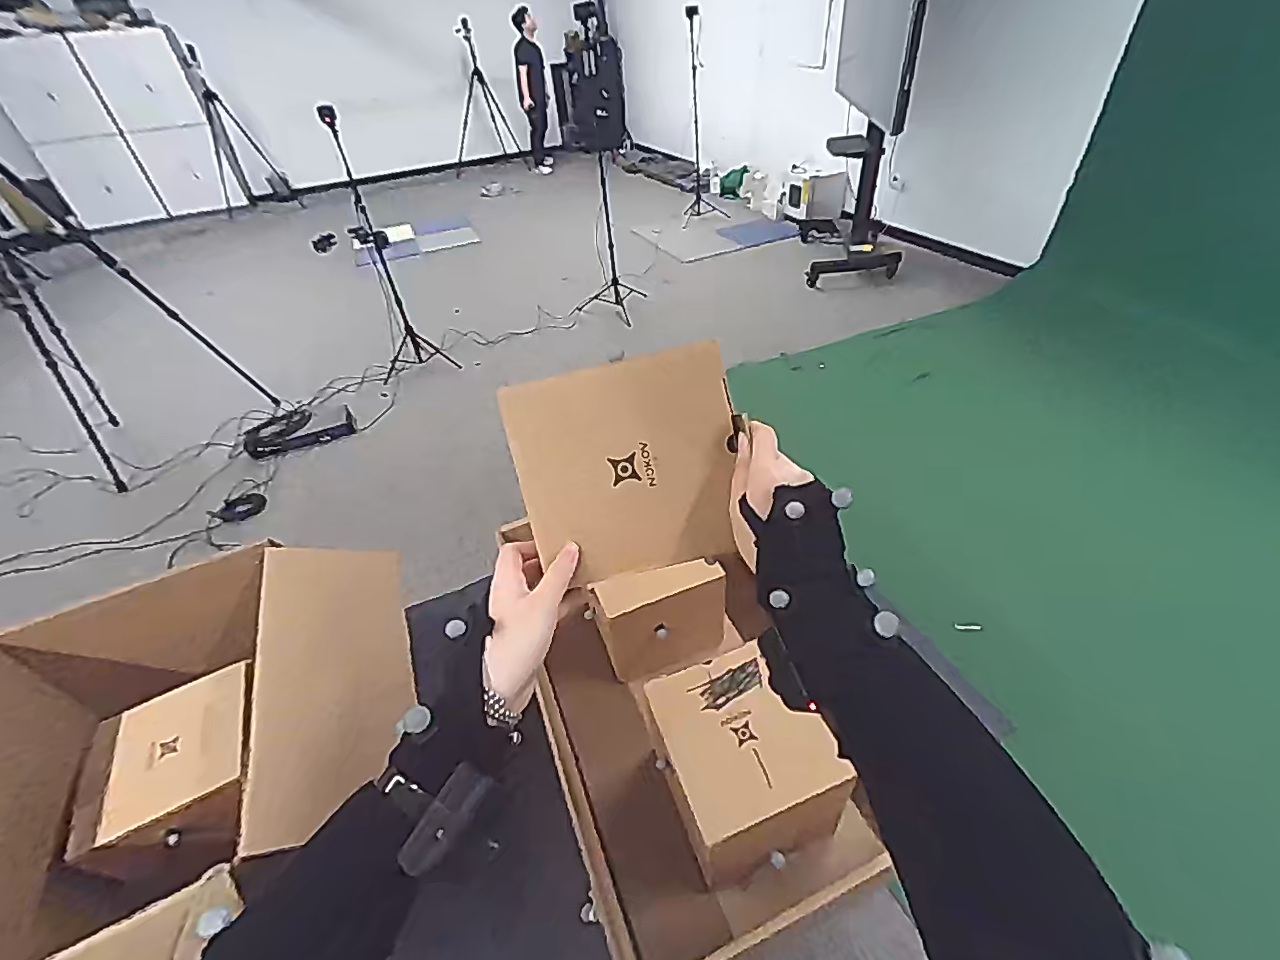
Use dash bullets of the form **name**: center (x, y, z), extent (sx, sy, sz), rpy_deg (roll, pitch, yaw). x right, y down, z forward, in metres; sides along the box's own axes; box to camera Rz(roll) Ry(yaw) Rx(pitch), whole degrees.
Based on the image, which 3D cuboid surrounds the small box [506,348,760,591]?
- **small box**: center (-0.004, -0.013, 0.504), extent (0.179, 0.168, 0.176), rpy_deg (-13, 6, 1)

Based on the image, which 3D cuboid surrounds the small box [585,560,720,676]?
- **small box**: center (0.011, 0.167, 0.825), extent (0.179, 0.176, 0.168), rpy_deg (-19, 44, -12)
